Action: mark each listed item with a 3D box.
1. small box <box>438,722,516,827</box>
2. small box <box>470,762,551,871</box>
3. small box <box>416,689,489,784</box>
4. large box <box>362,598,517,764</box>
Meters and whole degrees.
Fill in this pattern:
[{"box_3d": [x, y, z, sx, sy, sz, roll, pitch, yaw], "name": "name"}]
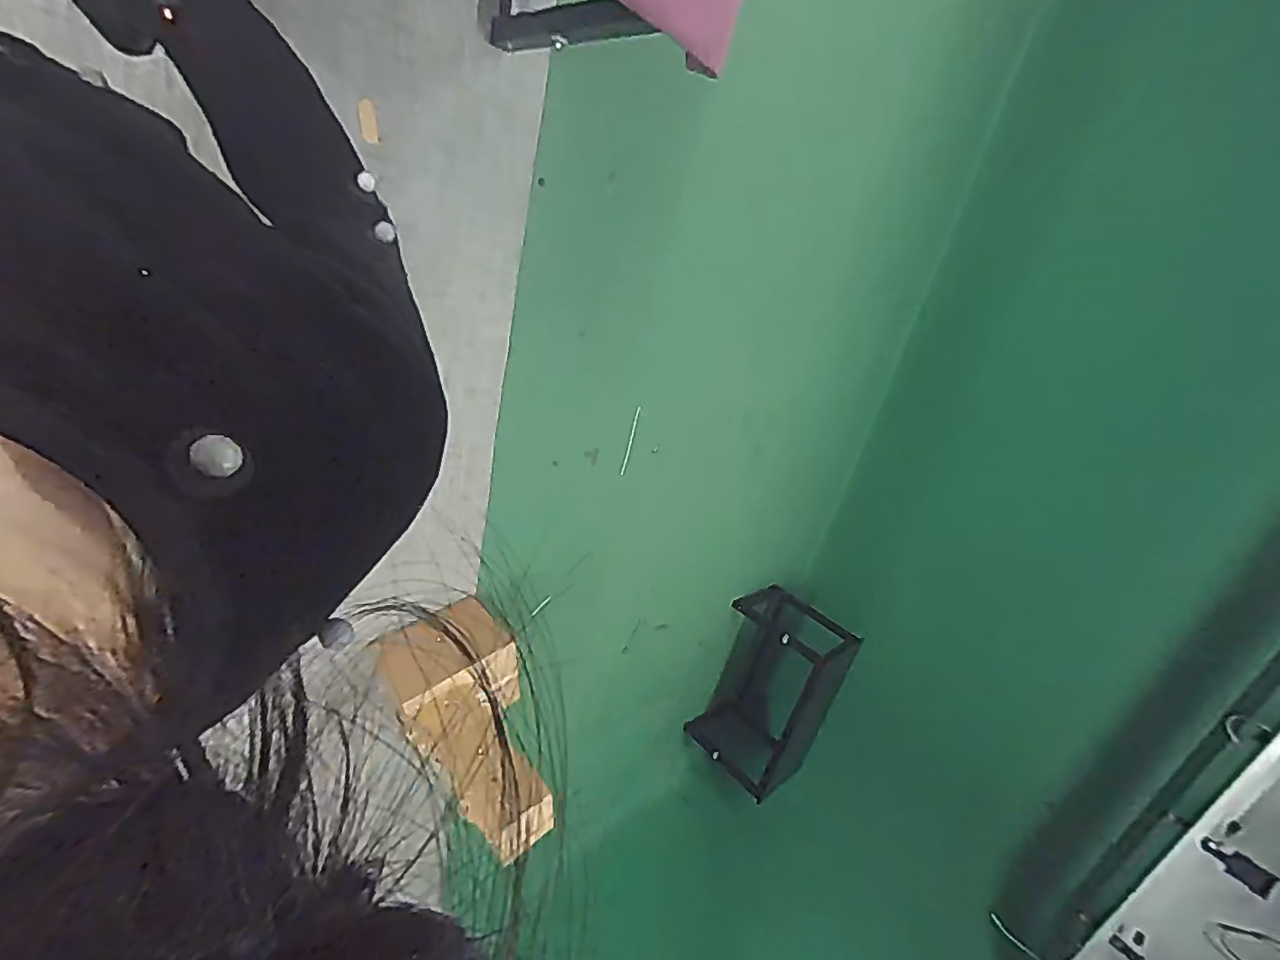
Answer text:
[{"box_3d": [-0.487, 0.876, 1.621, 0.179, 0.176, 0.168, -24, 131, -38], "name": "small box"}, {"box_3d": [-0.367, 0.938, 1.529, 0.168, 0.176, 0.179, -22, 130, -38], "name": "small box"}, {"box_3d": [-0.598, 0.809, 1.722, 0.179, 0.176, 0.168, -19, 128, -39], "name": "small box"}, {"box_3d": [-0.703, 0.697, 1.931, 0.408, 0.320, 0.320, -24, 132, -38], "name": "large box"}]
